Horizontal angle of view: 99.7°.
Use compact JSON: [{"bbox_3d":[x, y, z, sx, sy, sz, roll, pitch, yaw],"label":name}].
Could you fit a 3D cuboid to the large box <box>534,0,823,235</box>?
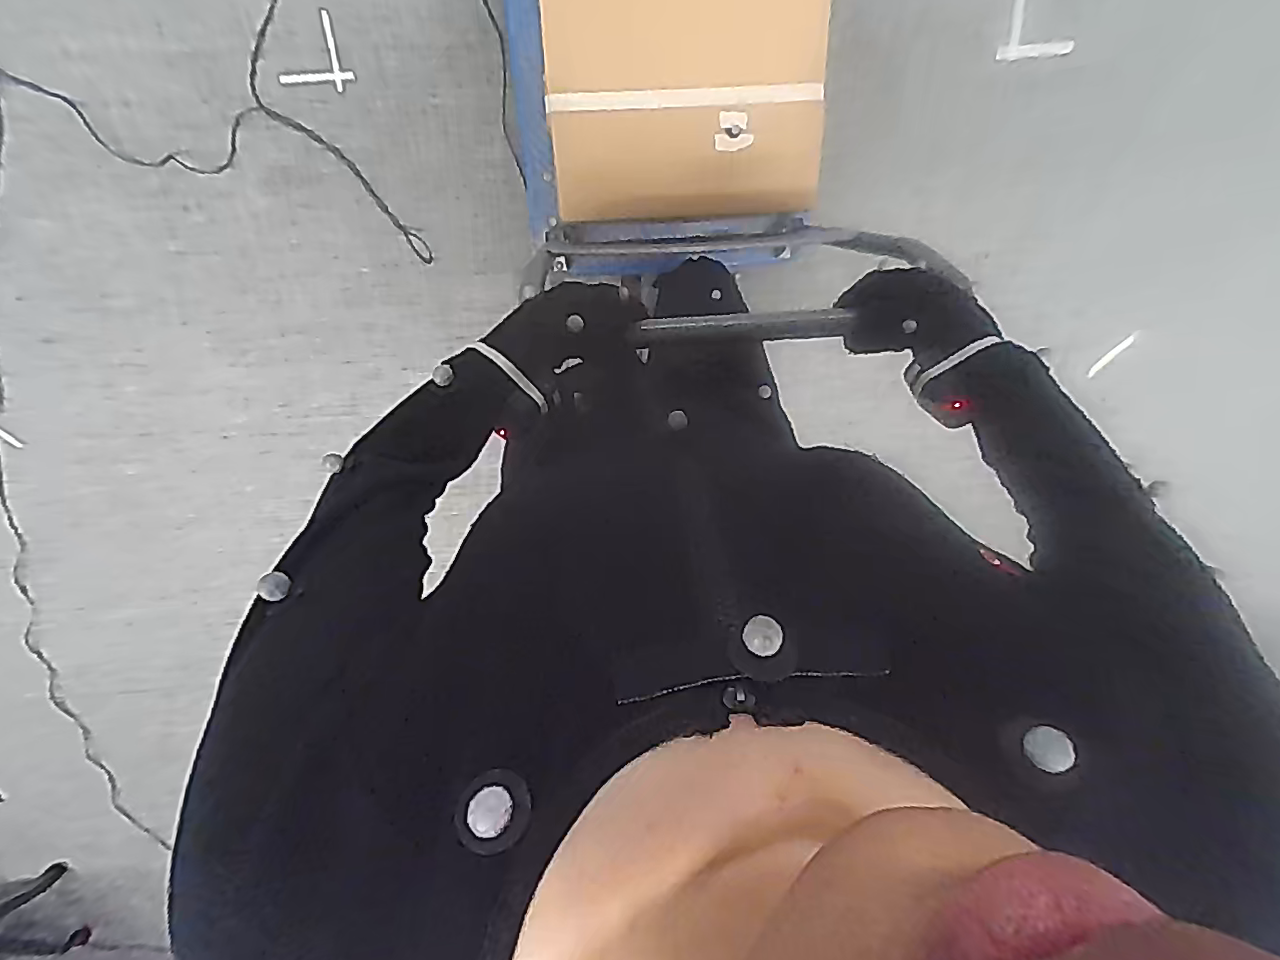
[{"bbox_3d":[0.050,-0.603,0.922,0.408,0.320,0.320,-5,114,-4],"label":"large box"}]
